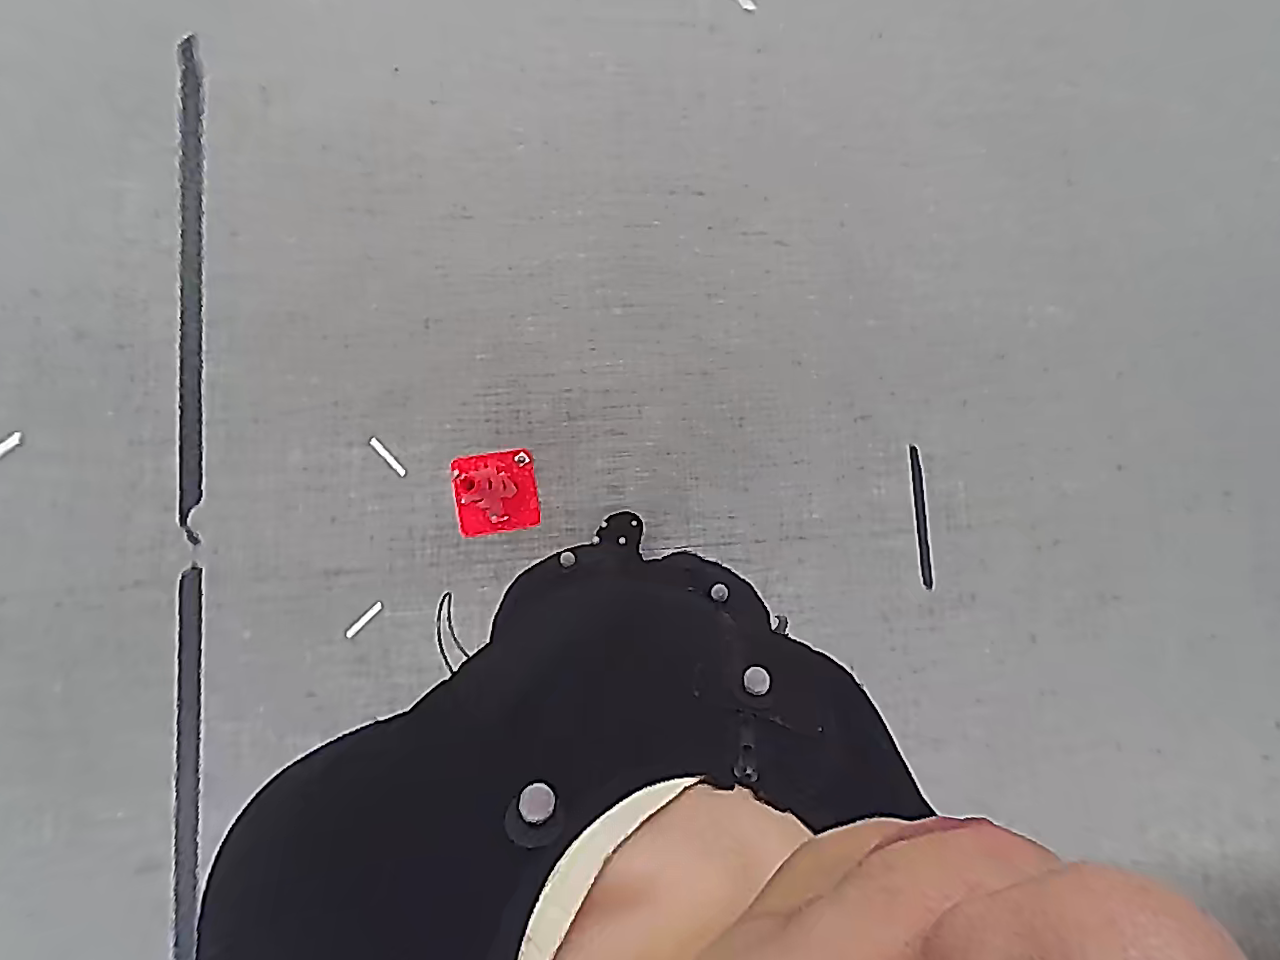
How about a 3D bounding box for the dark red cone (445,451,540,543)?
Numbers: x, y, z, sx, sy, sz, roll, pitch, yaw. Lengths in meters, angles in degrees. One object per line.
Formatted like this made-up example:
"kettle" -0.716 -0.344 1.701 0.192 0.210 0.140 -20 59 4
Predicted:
"dark red cone" -0.337 0.031 1.133 0.201 0.394 0.202 -10 88 -6
